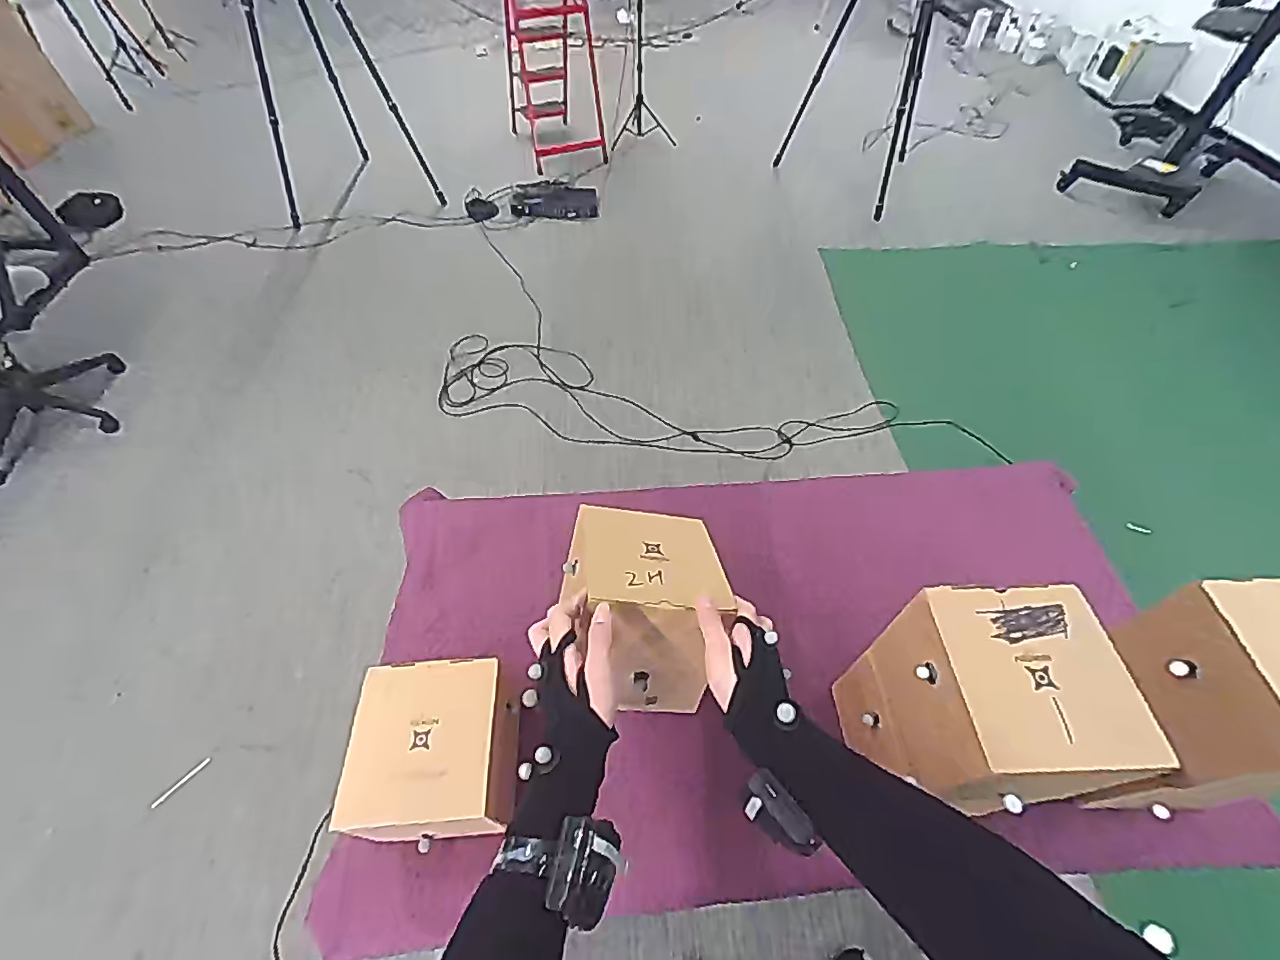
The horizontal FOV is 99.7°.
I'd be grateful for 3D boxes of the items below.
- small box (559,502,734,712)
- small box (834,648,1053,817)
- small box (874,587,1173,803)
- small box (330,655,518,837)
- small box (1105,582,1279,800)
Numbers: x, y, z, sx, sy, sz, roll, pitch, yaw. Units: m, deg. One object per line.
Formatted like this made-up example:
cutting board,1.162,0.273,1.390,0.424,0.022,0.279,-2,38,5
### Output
small box,-0.006,0.152,0.662,0.168,0.176,0.179,8,30,-12
small box,0.372,0.331,0.703,0.168,0.176,0.179,-1,52,-1
small box,0.373,0.230,0.574,0.168,0.176,0.179,-1,53,0
small box,-0.255,0.342,0.691,0.168,0.176,0.179,-3,53,-2
small box,0.655,0.225,0.573,0.168,0.176,0.179,0,52,2
